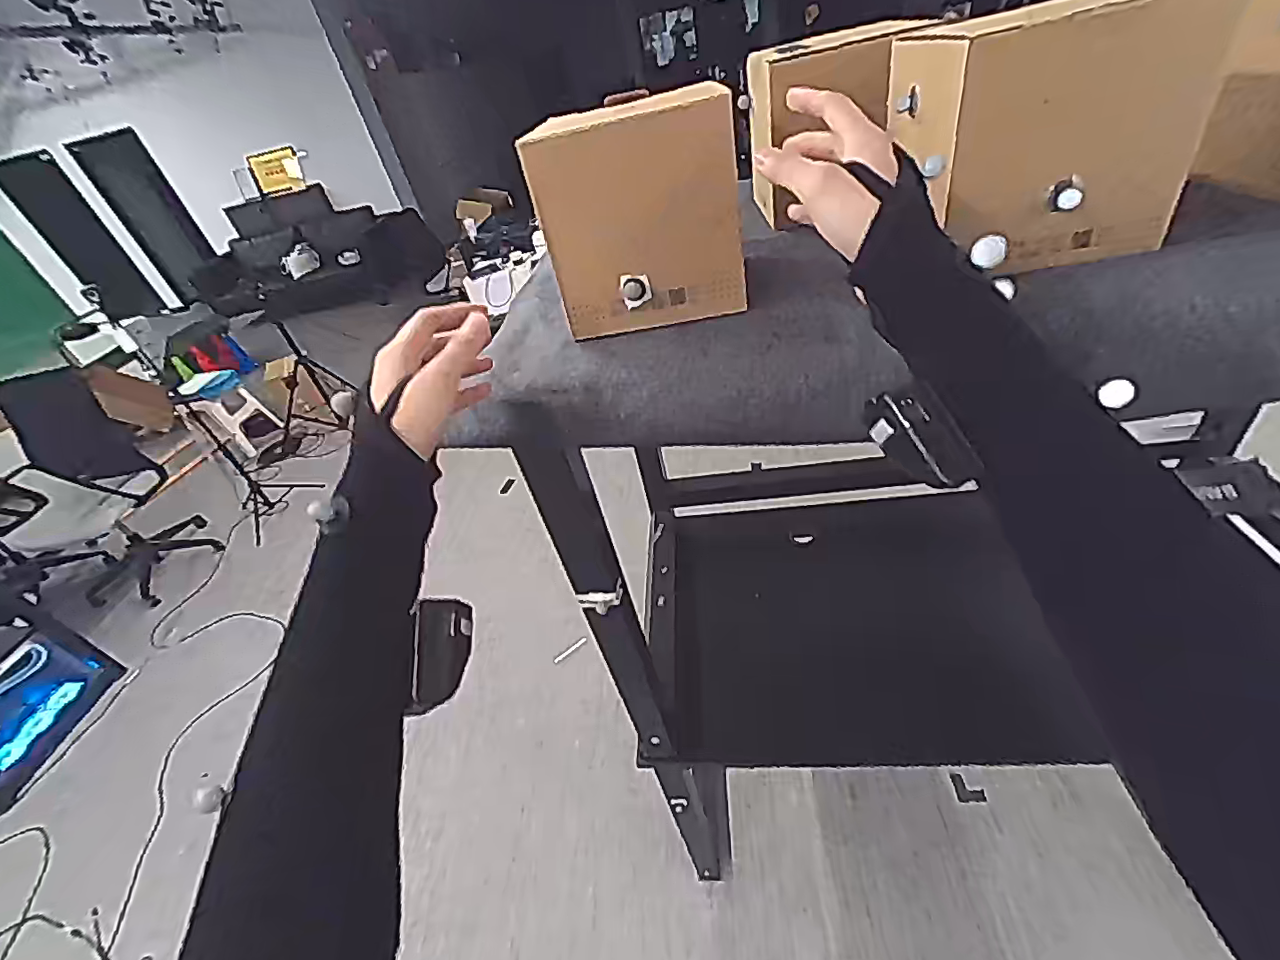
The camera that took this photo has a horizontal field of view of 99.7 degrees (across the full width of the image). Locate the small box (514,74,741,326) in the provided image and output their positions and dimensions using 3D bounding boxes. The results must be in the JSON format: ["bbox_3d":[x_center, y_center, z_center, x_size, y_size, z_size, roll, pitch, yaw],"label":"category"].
[{"bbox_3d":[-0.001,-0.265,0.515,0.168,0.176,0.179,-9,37,8],"label":"small box"}]
